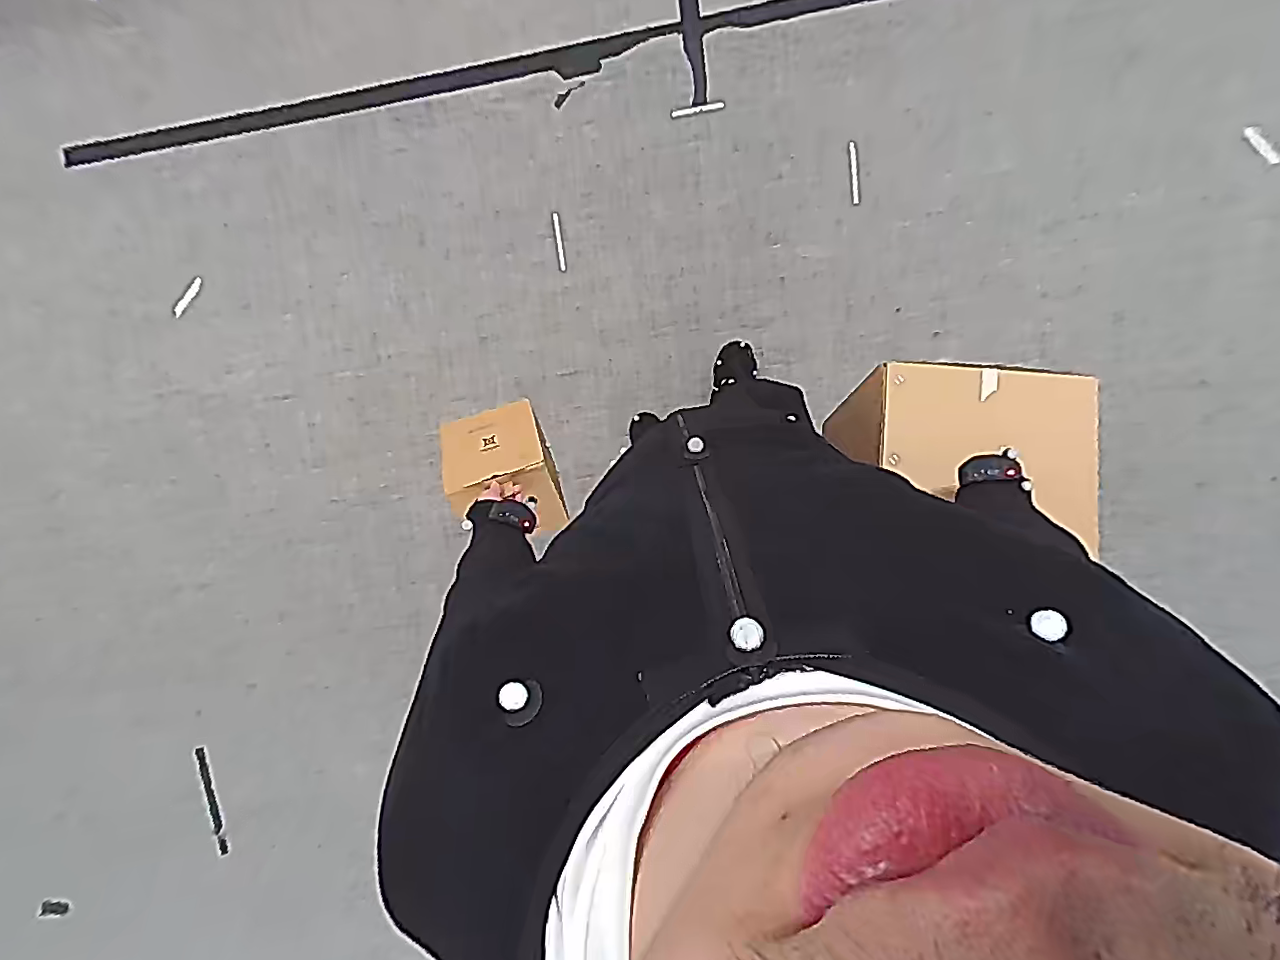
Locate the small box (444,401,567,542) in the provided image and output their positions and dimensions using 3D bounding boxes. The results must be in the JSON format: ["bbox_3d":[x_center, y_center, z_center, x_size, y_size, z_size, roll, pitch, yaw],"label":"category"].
[{"bbox_3d":[-0.240,-0.008,0.977,0.168,0.179,0.176,-18,136,-6],"label":"small box"}]
